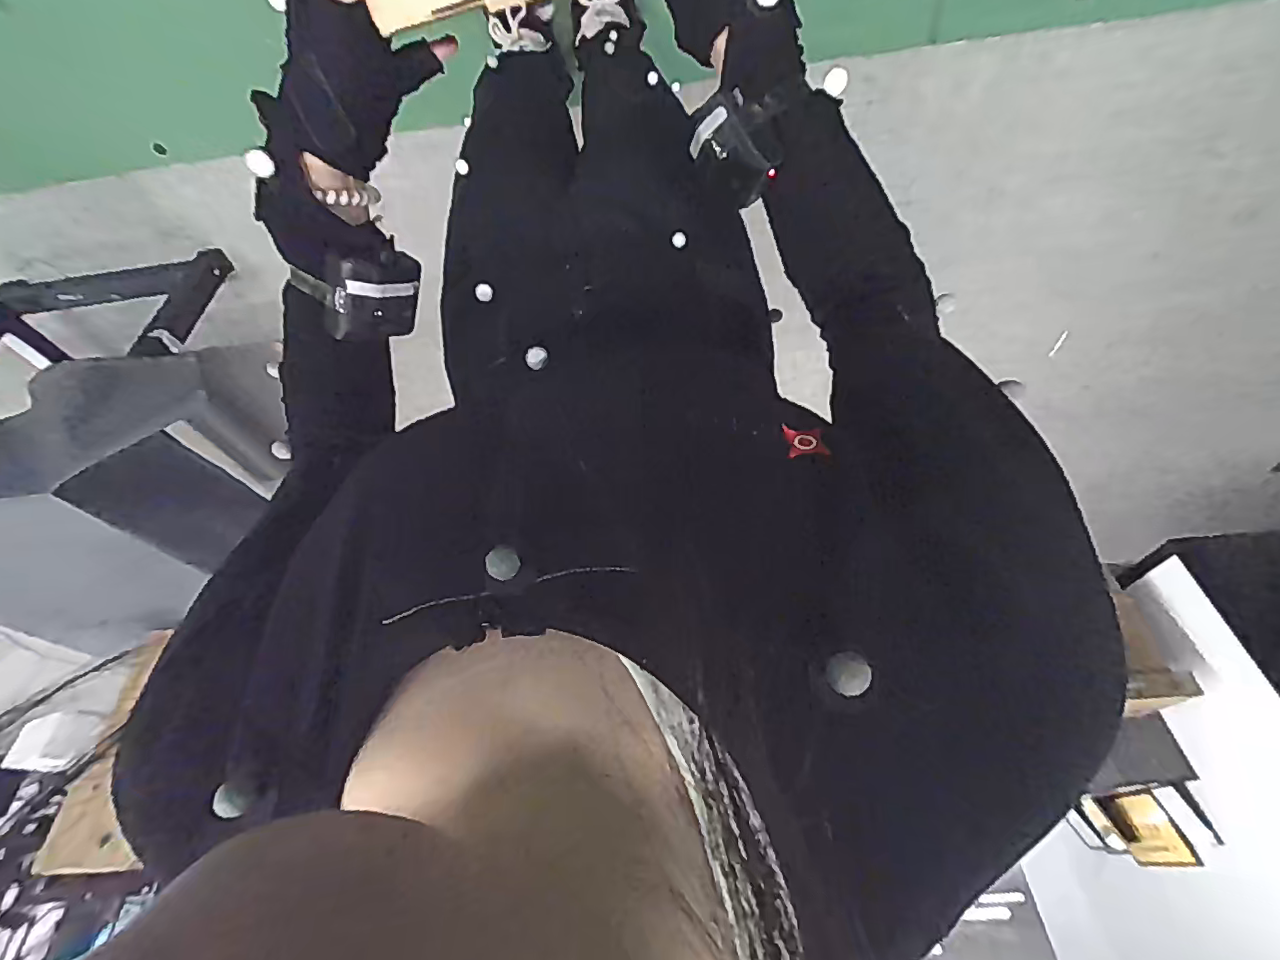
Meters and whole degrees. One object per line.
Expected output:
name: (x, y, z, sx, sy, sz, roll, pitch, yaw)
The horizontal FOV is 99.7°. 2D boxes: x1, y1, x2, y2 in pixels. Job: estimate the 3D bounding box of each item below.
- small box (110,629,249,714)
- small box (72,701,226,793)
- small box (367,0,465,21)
small box: (-1.139, 0.486, 1.356, 0.179, 0.176, 0.168, -7, 144, 2)
small box: (-1.131, 0.621, 1.264, 0.168, 0.176, 0.179, -7, 144, 5)
small box: (-0.084, -0.375, 0.278, 0.168, 0.176, 0.179, -11, 133, 7)
